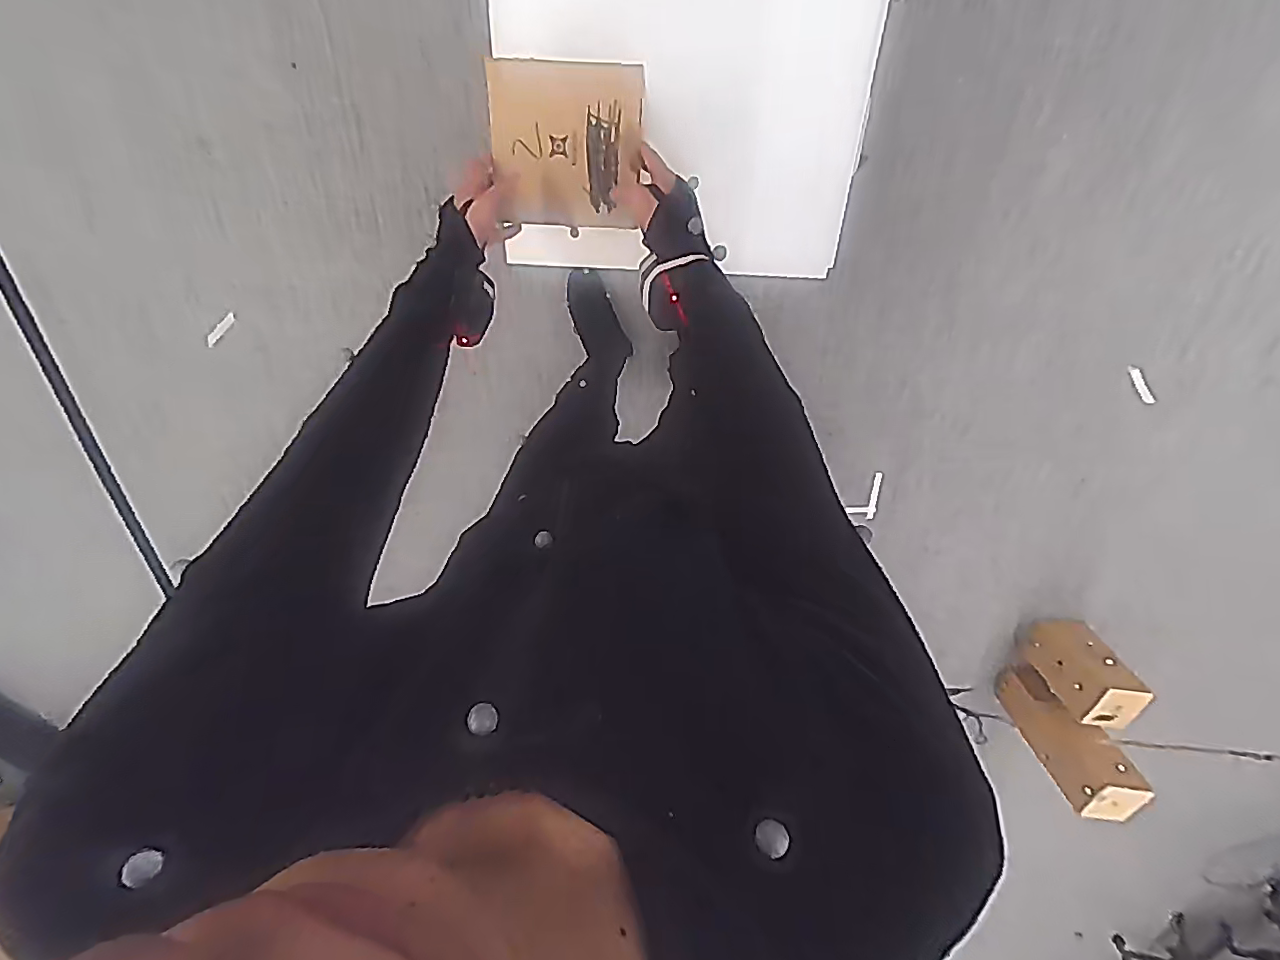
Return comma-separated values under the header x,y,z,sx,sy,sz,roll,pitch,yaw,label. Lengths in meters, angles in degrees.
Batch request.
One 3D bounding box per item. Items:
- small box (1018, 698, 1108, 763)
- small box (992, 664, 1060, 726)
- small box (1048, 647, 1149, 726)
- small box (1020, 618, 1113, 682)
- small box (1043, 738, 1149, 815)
x,y,z,sx,sy,sz,roll,pitch,yaw,label
1.529,0.918,1.969,0.168,0.176,0.179,3,119,-2,small box
1.529,0.839,2.110,0.179,0.176,0.168,2,119,-1,small box
1.546,0.701,1.841,0.168,0.176,0.179,9,118,-6,small box
1.559,0.626,1.988,0.179,0.176,0.168,6,119,-3,small box
1.529,0.997,1.825,0.179,0.176,0.168,9,119,-7,small box
